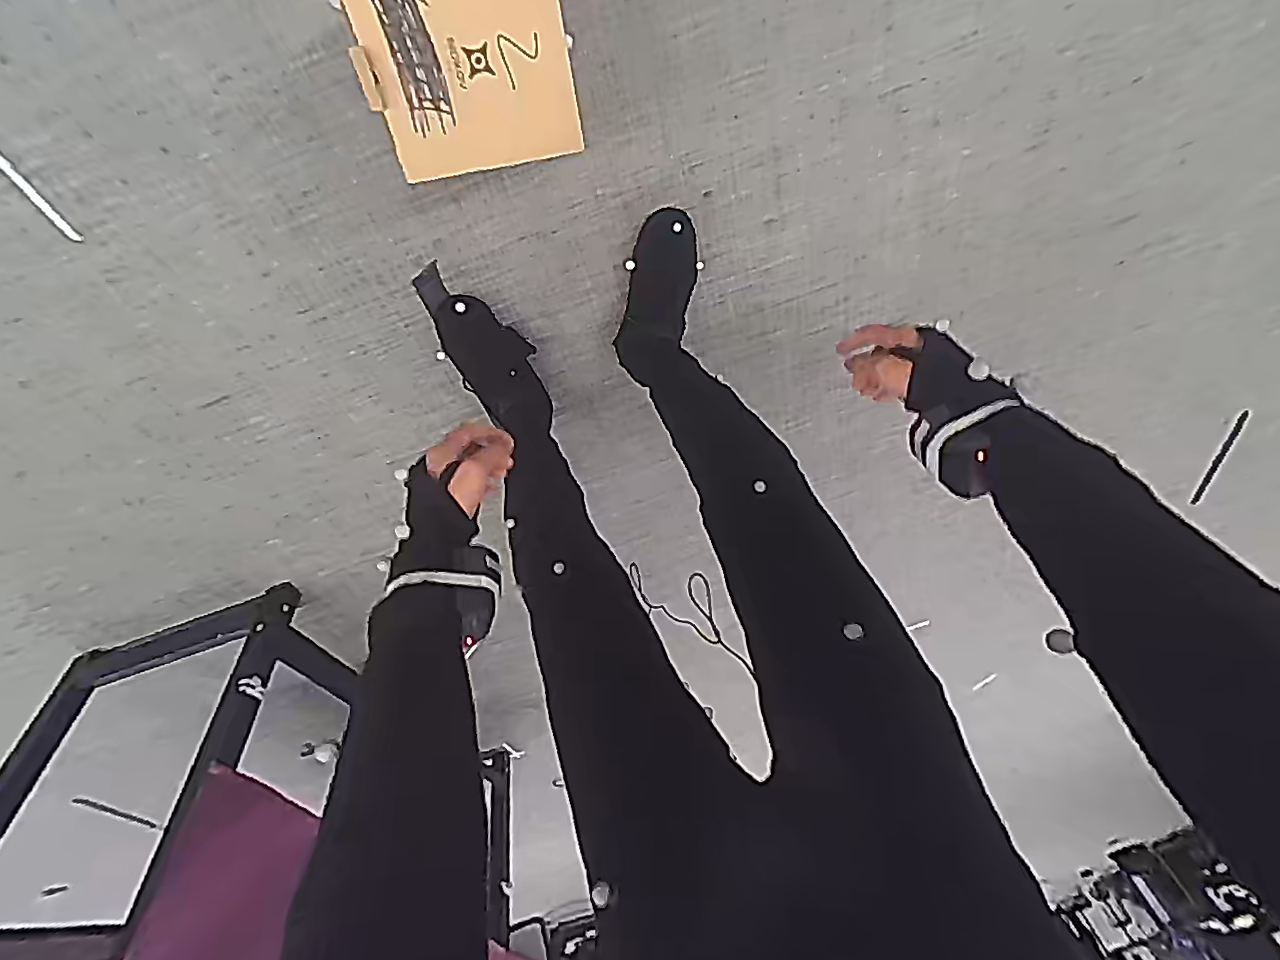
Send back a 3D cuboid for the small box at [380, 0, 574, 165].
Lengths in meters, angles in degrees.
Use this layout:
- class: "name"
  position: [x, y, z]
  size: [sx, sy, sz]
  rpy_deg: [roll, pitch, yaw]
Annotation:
- class: "small box"
  position: [-0.184, -0.512, 0.649]
  size: [0.168, 0.176, 0.179]
  rpy_deg: [-16, 132, 1]
